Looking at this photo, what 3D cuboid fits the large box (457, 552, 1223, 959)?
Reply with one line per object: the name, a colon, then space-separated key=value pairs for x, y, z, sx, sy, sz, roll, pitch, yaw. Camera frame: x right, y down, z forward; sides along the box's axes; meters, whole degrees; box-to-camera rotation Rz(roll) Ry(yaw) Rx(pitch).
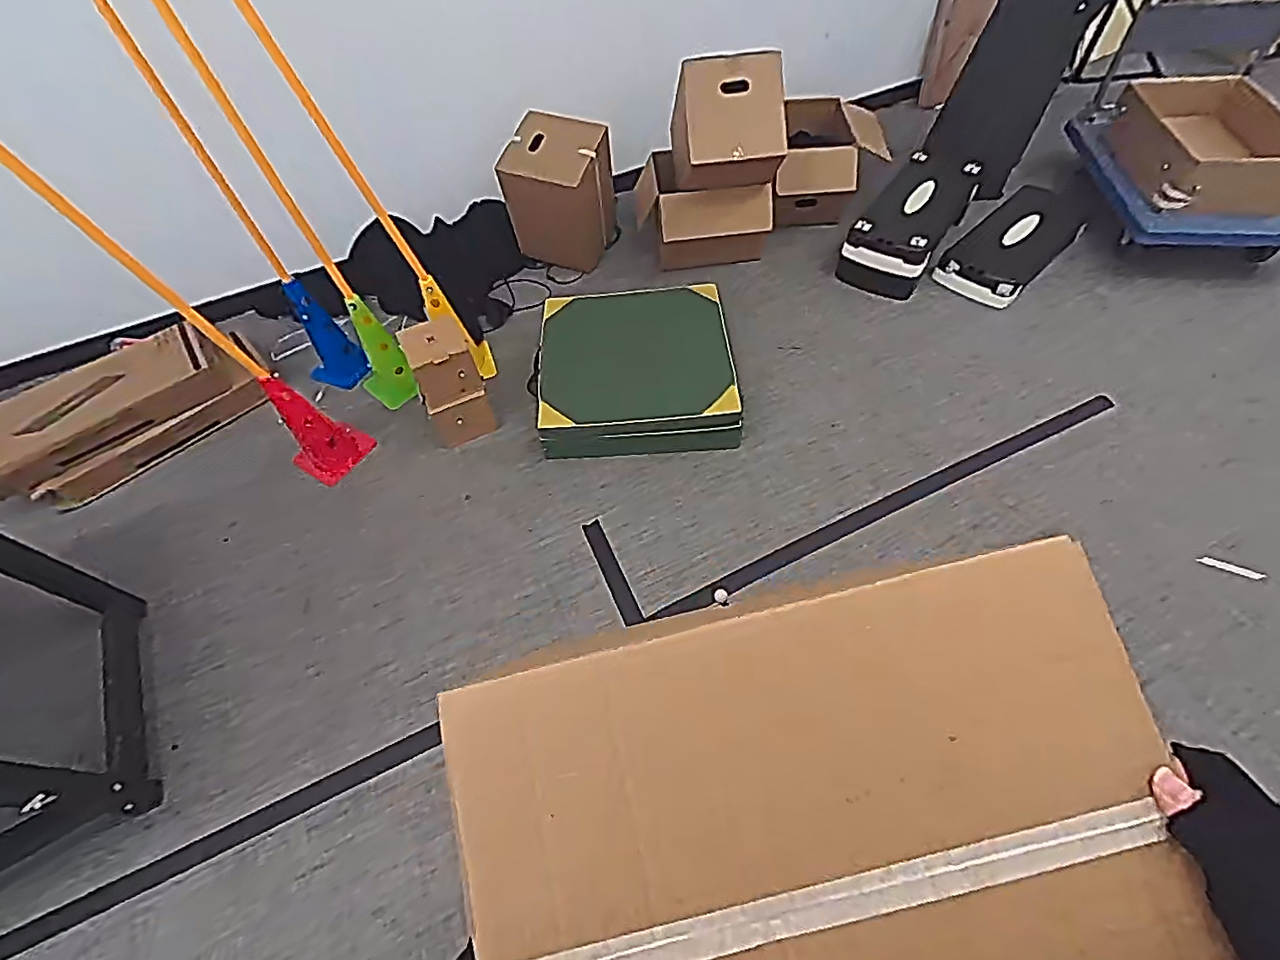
large box: x=0.119 y=0.269 z=0.459 sx=0.408 sy=0.320 sz=0.320 roll=-15 pitch=77 yaw=-1
